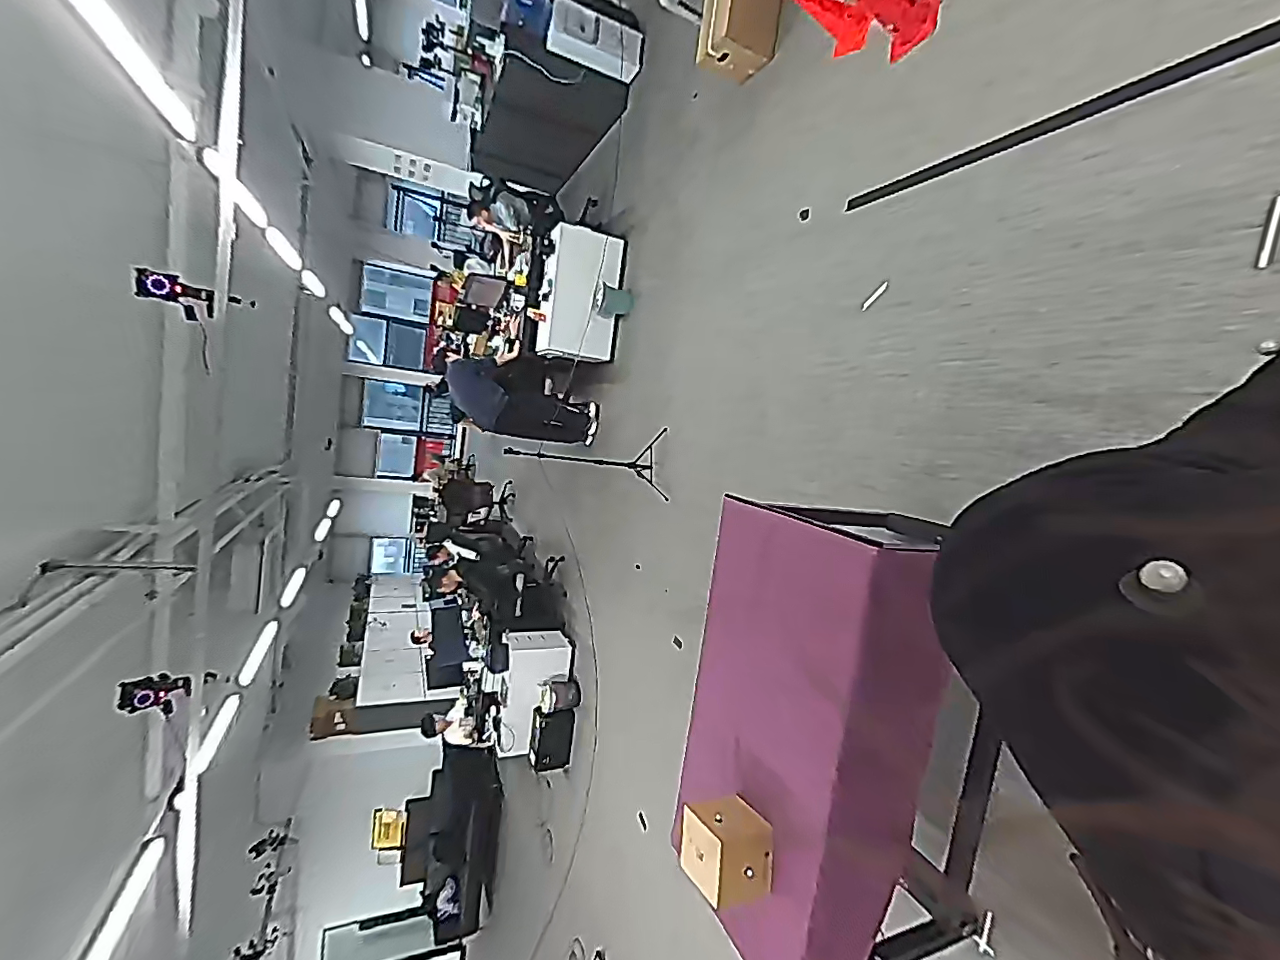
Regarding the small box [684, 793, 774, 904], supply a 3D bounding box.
[{"bbox_3d":[0.234,0.956,1.423,0.179,0.176,0.168,-178,93,-65],"label":"small box"}]
